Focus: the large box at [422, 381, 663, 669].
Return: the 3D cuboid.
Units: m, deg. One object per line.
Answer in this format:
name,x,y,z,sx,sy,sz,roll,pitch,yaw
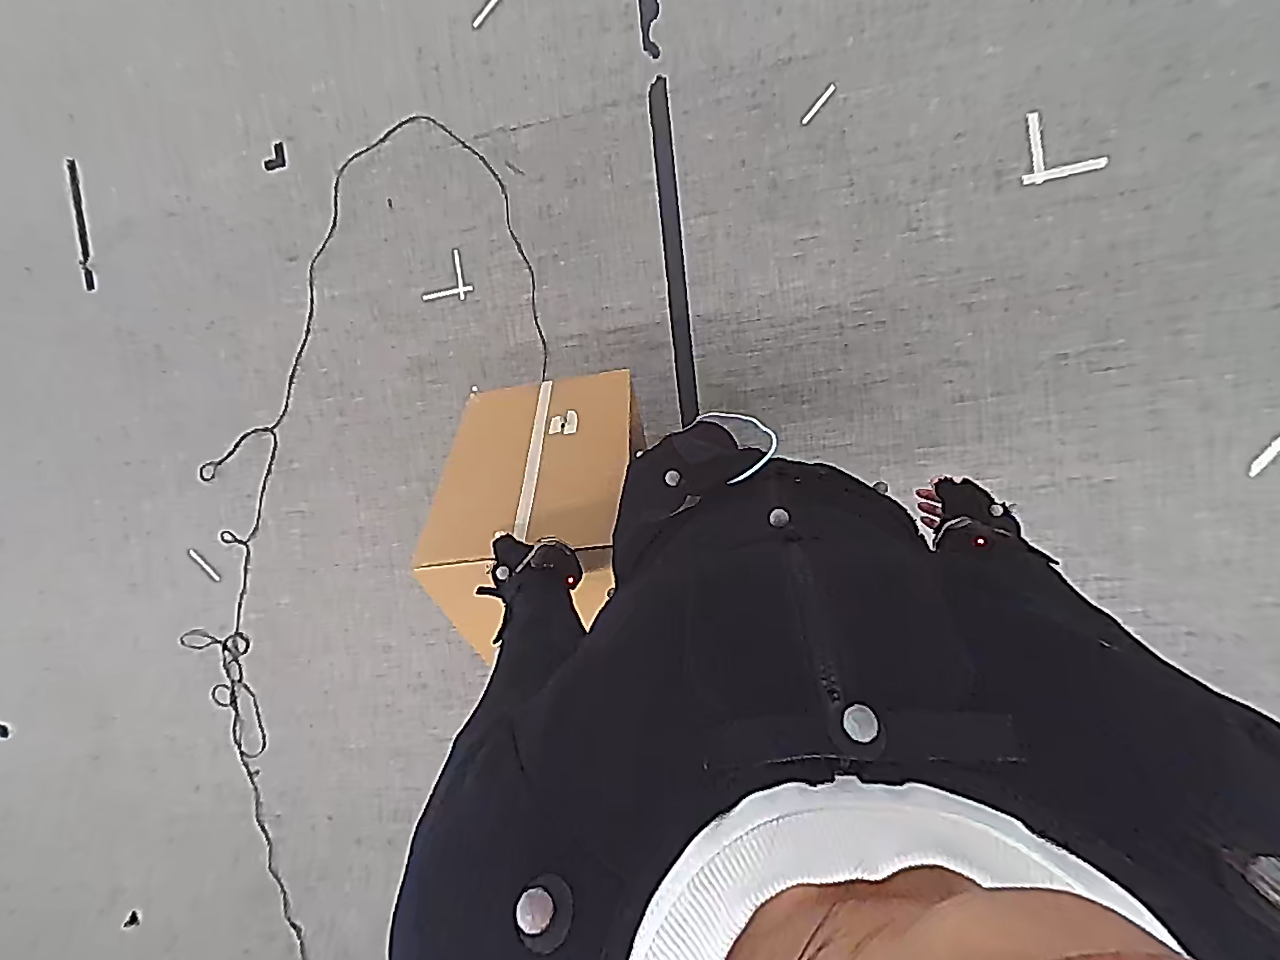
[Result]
large box,-0.141,0.077,0.987,0.320,0.408,0.320,-7,134,6
